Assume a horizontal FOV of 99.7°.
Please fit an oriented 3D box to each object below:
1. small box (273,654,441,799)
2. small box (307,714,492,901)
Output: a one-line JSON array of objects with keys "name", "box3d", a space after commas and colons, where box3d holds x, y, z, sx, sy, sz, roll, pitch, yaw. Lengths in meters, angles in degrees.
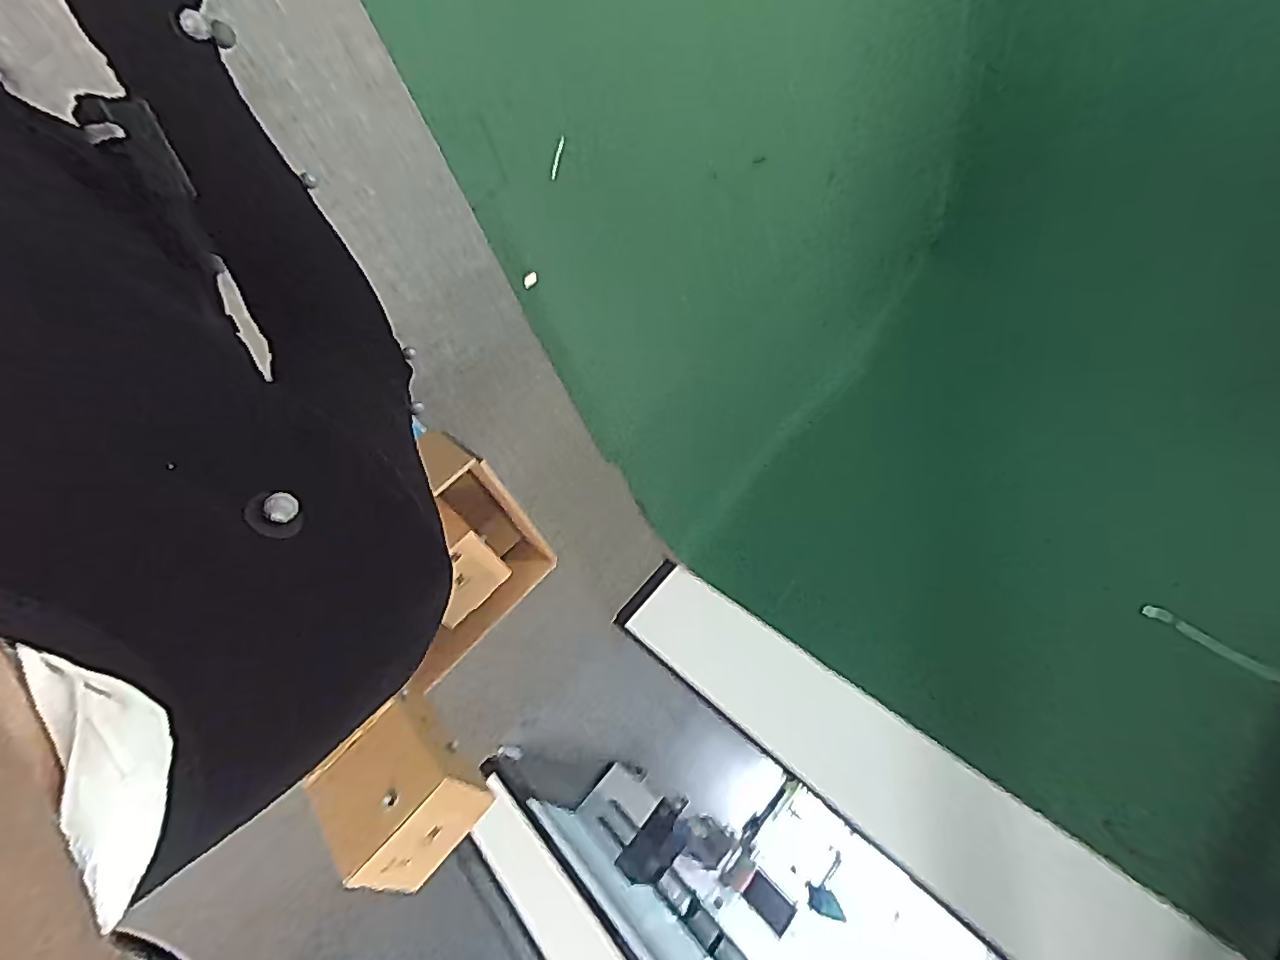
[{"name": "small box", "box3d": [-0.489, 0.436, 0.942, 0.168, 0.176, 0.179, -44, 141, -19]}, {"name": "small box", "box3d": [-0.374, 0.505, 0.845, 0.179, 0.176, 0.168, -44, 141, -19]}]
